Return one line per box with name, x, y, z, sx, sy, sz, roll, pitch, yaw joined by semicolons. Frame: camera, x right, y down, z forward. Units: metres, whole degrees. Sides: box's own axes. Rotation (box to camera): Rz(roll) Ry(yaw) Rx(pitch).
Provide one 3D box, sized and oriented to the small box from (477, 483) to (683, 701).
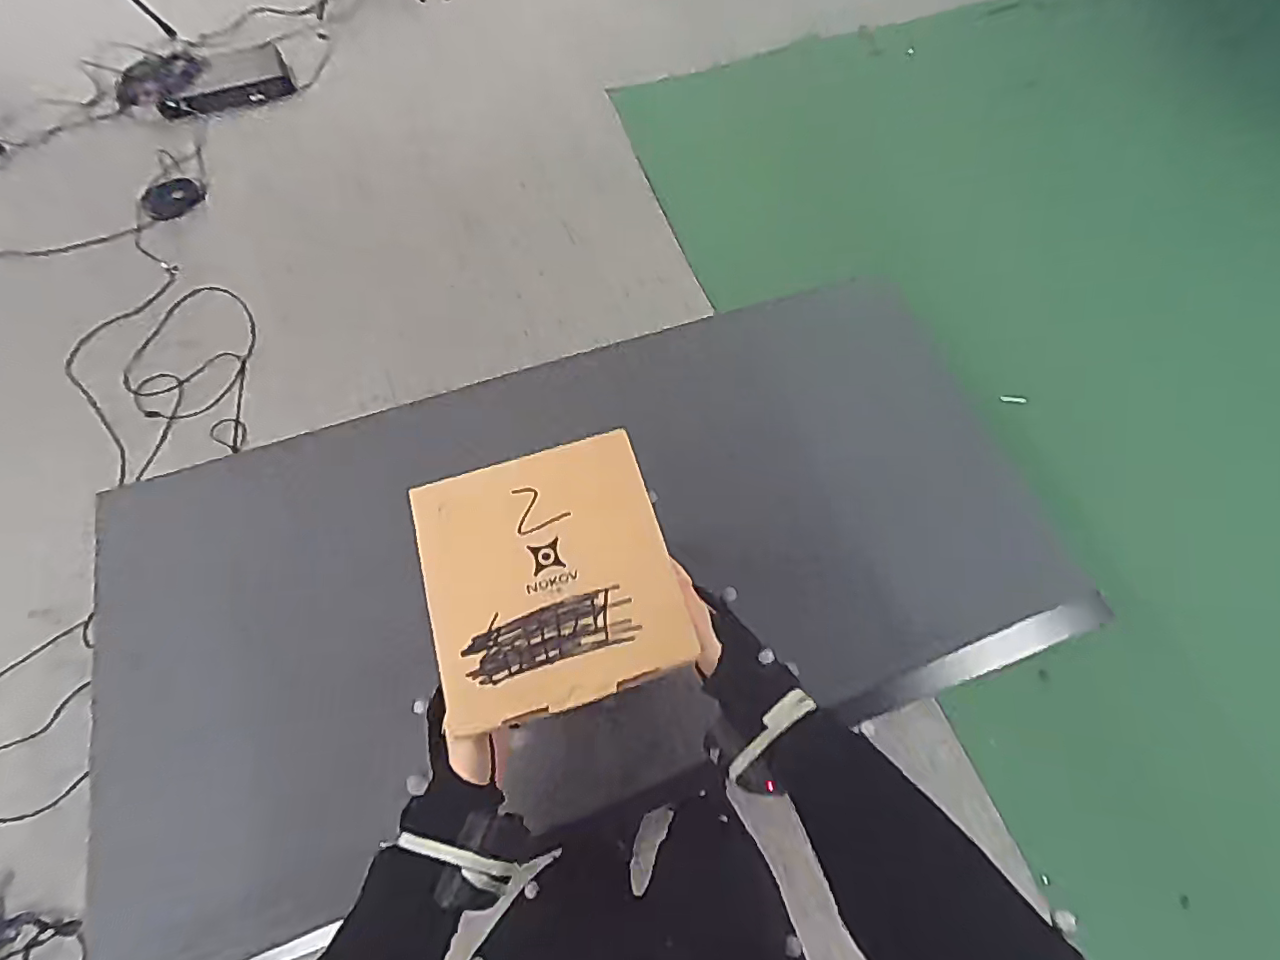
small box;-0.063;0.131;0.594;0.168;0.176;0.179;-17;69;-6
